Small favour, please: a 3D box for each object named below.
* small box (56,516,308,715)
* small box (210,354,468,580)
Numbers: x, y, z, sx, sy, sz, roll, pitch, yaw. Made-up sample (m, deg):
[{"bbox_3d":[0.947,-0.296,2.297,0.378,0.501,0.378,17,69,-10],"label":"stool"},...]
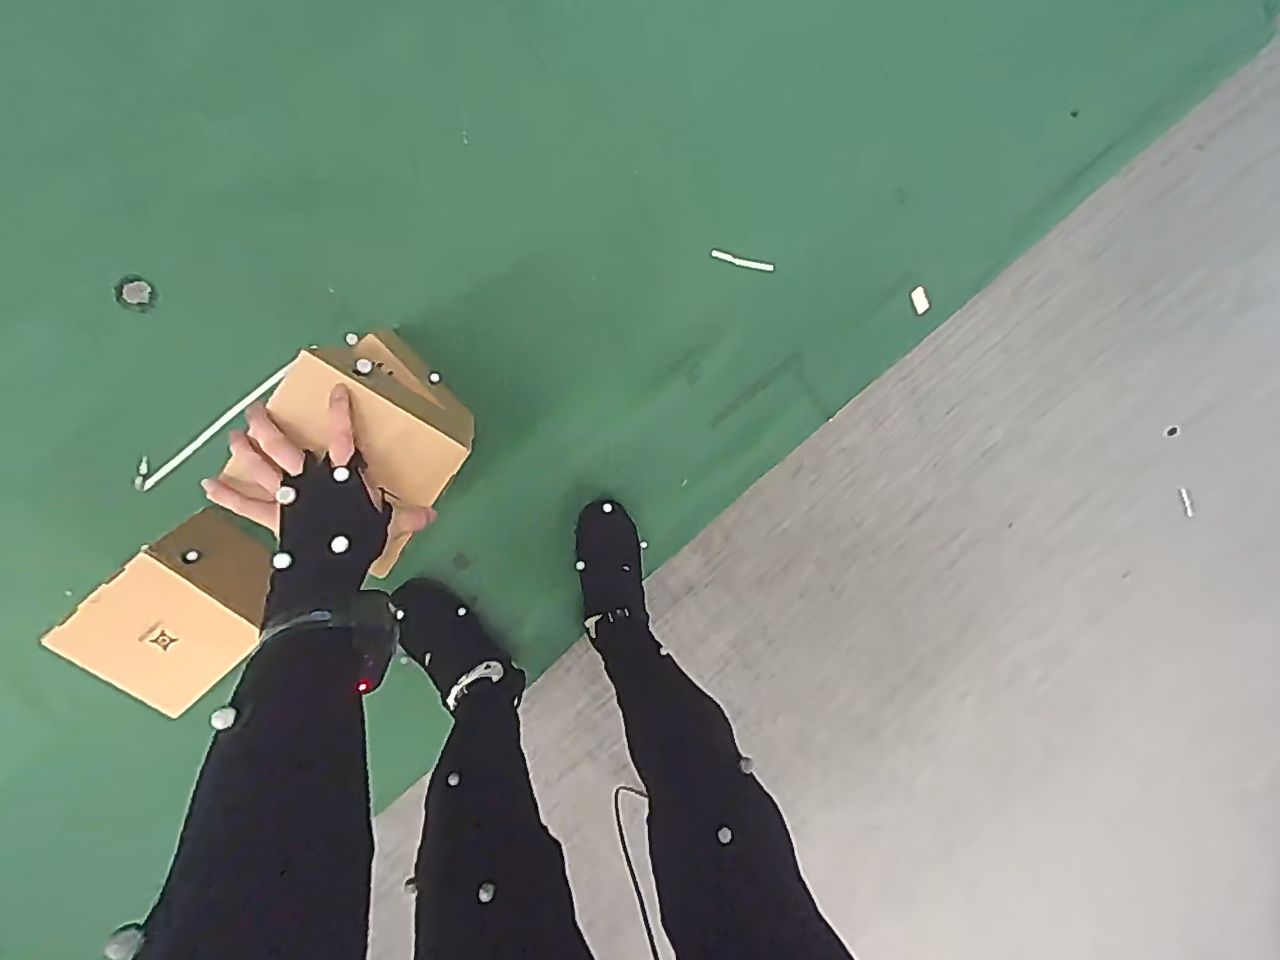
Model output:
[{"bbox_3d":[-0.615,0.178,0.760,0.168,0.176,0.179,-42,111,0],"label":"small box"},{"bbox_3d":[-0.311,-0.022,0.603,0.179,0.176,0.168,32,93,-21],"label":"small box"}]
